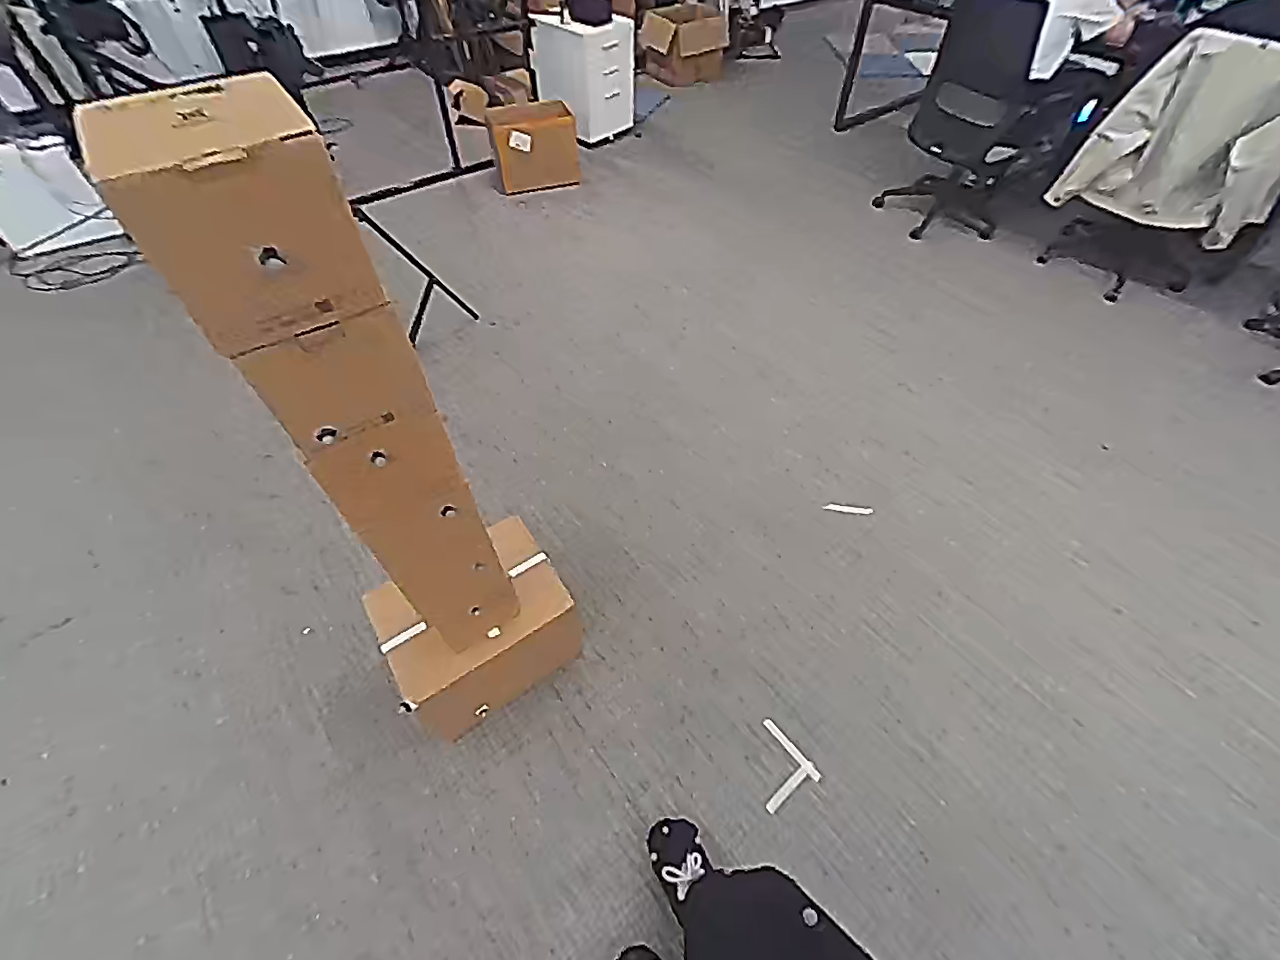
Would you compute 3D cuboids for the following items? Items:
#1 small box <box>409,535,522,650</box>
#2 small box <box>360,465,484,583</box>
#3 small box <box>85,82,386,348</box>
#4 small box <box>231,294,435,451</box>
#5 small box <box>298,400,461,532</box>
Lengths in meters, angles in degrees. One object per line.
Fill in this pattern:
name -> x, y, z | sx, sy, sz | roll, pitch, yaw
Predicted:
small box -> -0.382, 0.242, 1.188 | 0.179, 0.176, 0.168 | -31, 60, -23
small box -> -0.383, 0.042, 0.927 | 0.179, 0.176, 0.168 | -28, 58, -20
small box -> -0.383, -0.253, 0.536 | 0.168, 0.176, 0.179 | -29, 59, -21
small box -> -0.380, -0.158, 0.670 | 0.168, 0.176, 0.179 | -28, 58, -20
small box -> -0.383, -0.057, 0.799 | 0.179, 0.176, 0.168 | -28, 59, -20
